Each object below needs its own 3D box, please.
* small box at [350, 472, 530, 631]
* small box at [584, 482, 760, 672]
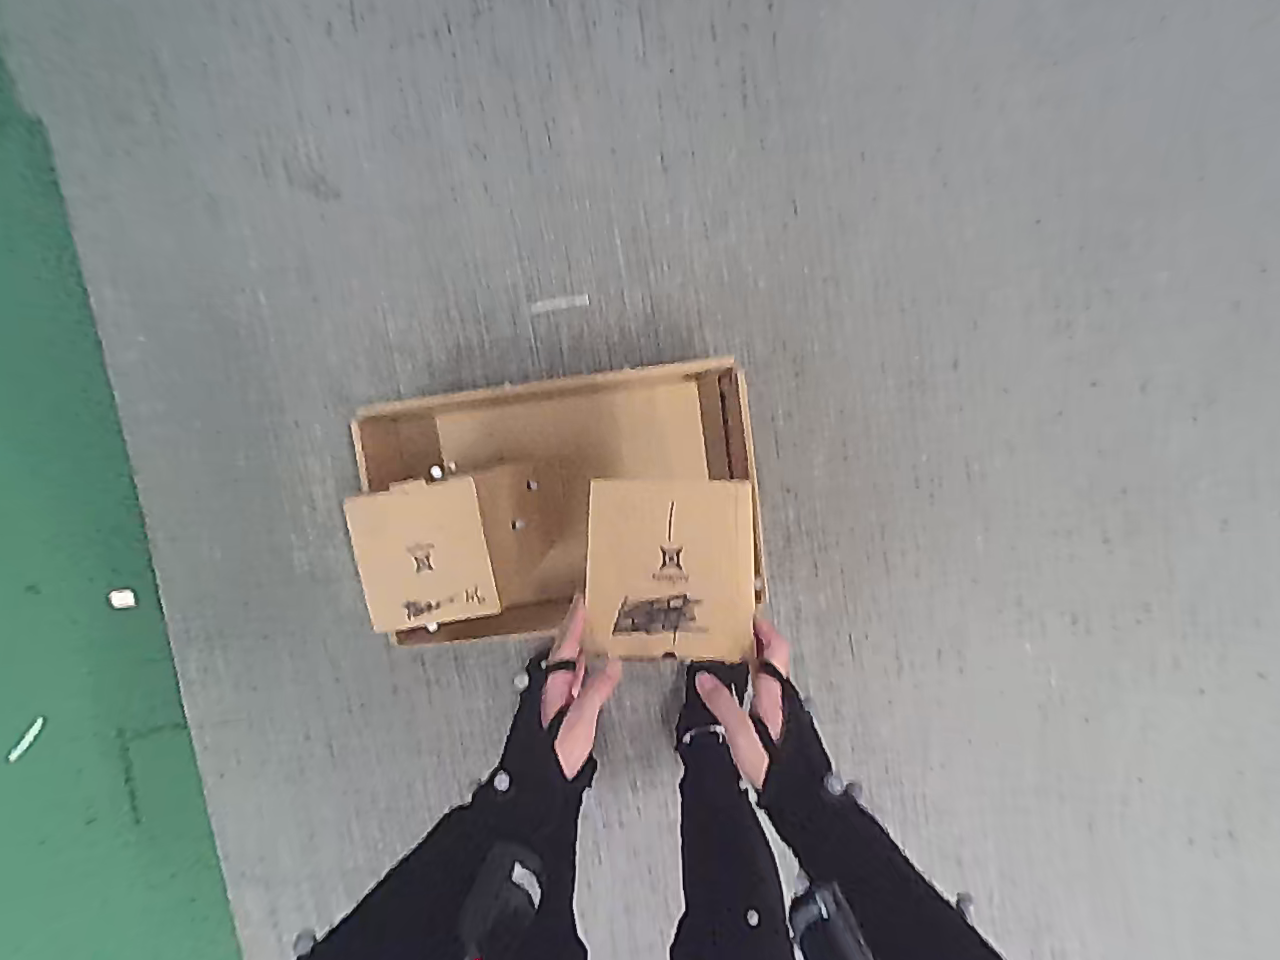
[{"bbox_3d":[-0.259,0.085,0.740,0.168,0.176,0.179,-9,94,2],"label":"small box"},{"bbox_3d":[0.036,0.106,0.592,0.168,0.176,0.179,1,77,2],"label":"small box"}]
